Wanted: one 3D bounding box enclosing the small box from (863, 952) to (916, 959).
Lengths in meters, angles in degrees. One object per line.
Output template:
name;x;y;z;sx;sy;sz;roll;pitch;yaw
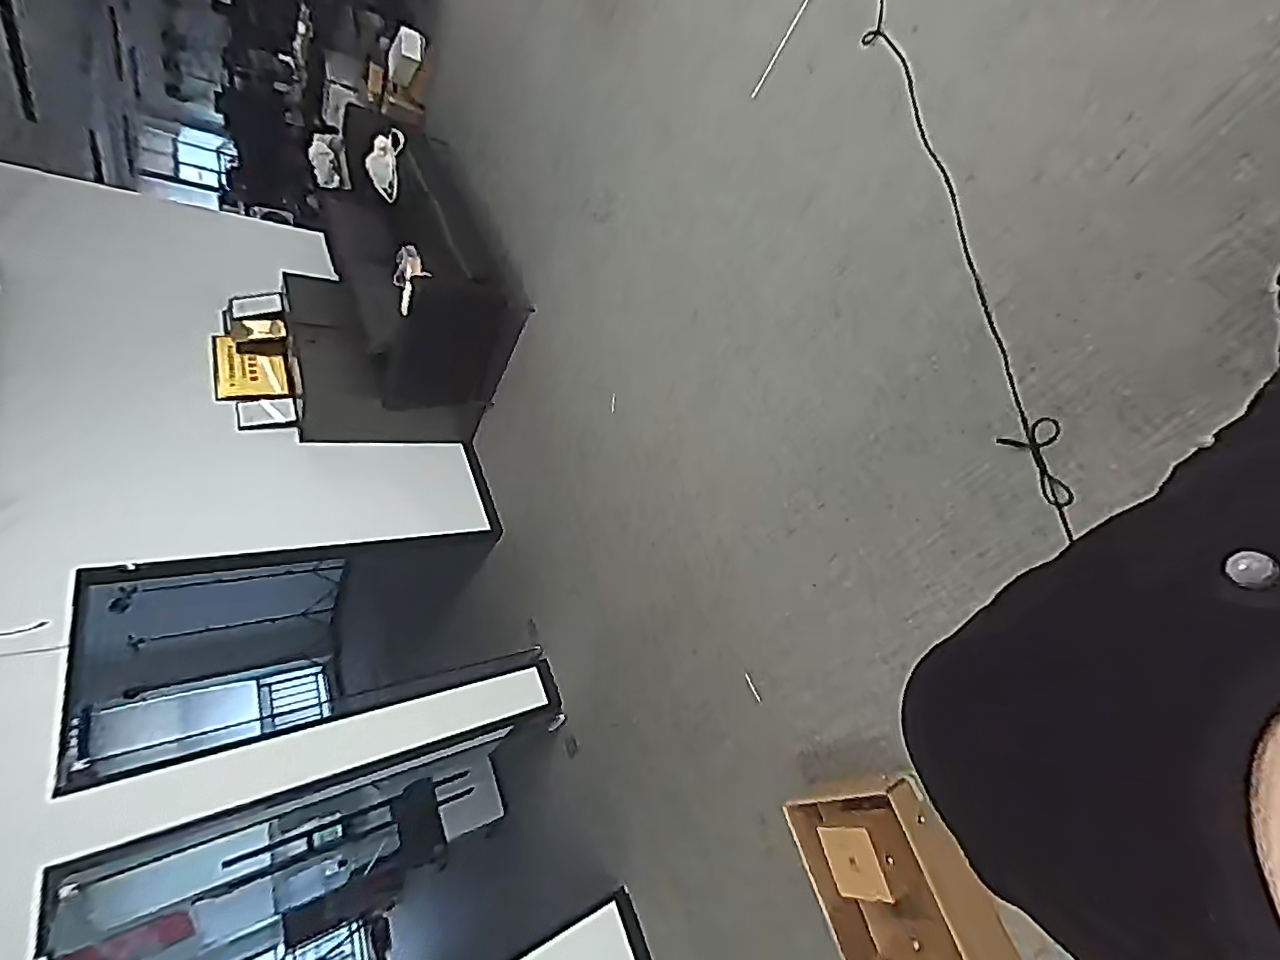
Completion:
small box;0.611;1.281;1.288;0.168;0.176;0.179;-45;57;43
